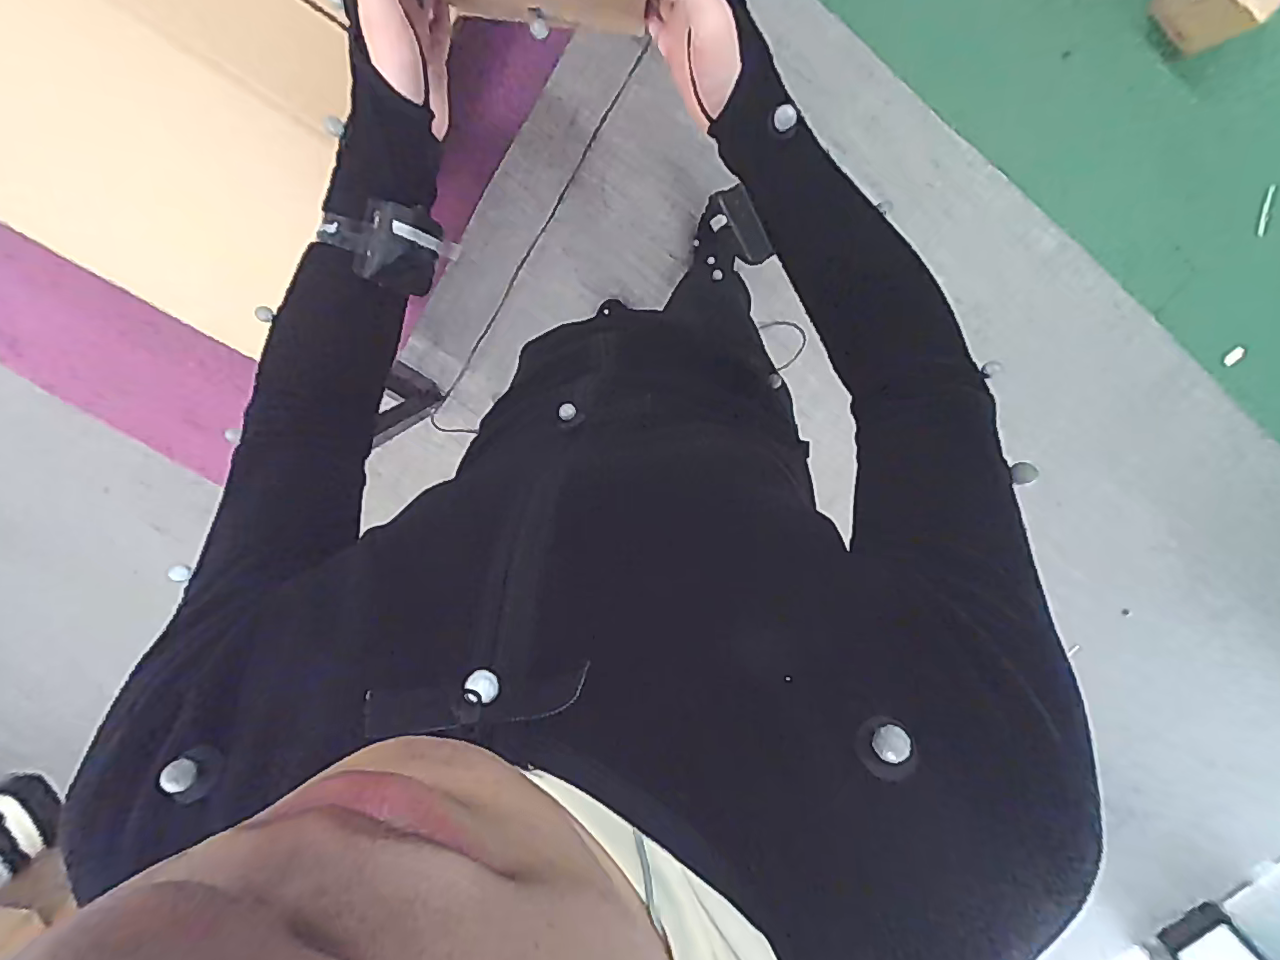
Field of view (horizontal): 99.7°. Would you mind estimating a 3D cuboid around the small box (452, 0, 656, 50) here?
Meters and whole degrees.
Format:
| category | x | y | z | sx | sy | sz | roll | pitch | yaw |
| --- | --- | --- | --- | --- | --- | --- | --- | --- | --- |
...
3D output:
| category | x | y | z | sx | sy | sz | roll | pitch | yaw |
| --- | --- | --- | --- | --- | --- | --- | --- | --- | --- |
| small box | -0.062 | -0.424 | 0.365 | 0.168 | 0.176 | 0.179 | 6 | 120 | -2 |
